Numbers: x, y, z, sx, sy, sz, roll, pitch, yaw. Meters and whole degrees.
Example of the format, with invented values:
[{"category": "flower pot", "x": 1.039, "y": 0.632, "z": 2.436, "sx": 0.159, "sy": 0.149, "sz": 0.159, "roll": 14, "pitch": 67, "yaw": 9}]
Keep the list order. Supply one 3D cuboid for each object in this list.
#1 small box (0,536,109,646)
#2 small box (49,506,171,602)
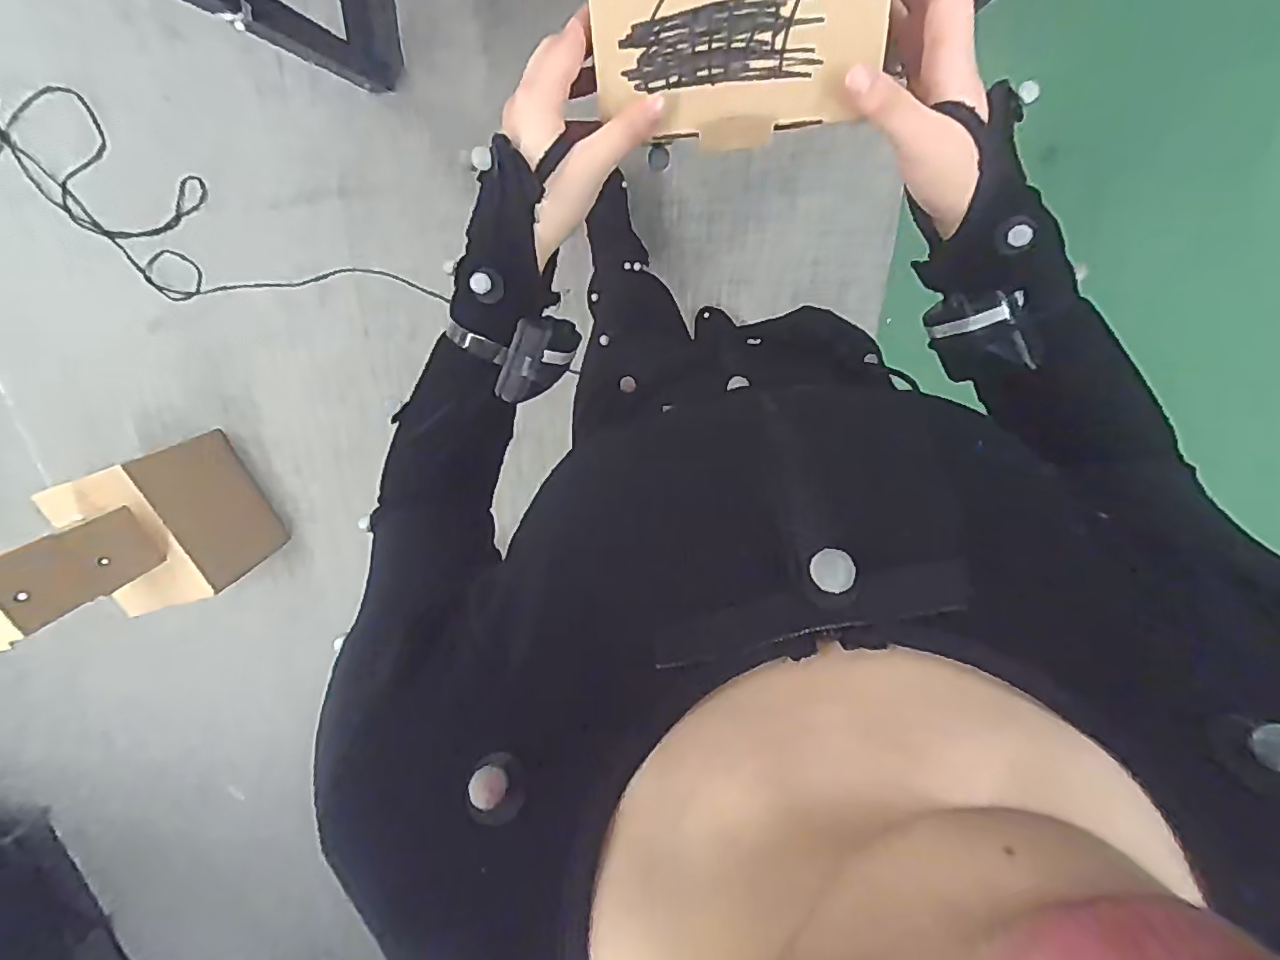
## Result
[{"category": "small box", "x": -1.365, "y": 0.241, "z": 1.199, "sx": 0.168, "sy": 0.176, "sz": 0.179, "roll": -15, "pitch": 111, "yaw": 10}, {"category": "small box", "x": -1.348, "y": 0.191, "z": 1.353, "sx": 0.168, "sy": 0.176, "sz": 0.179, "roll": -15, "pitch": 110, "yaw": 11}]
